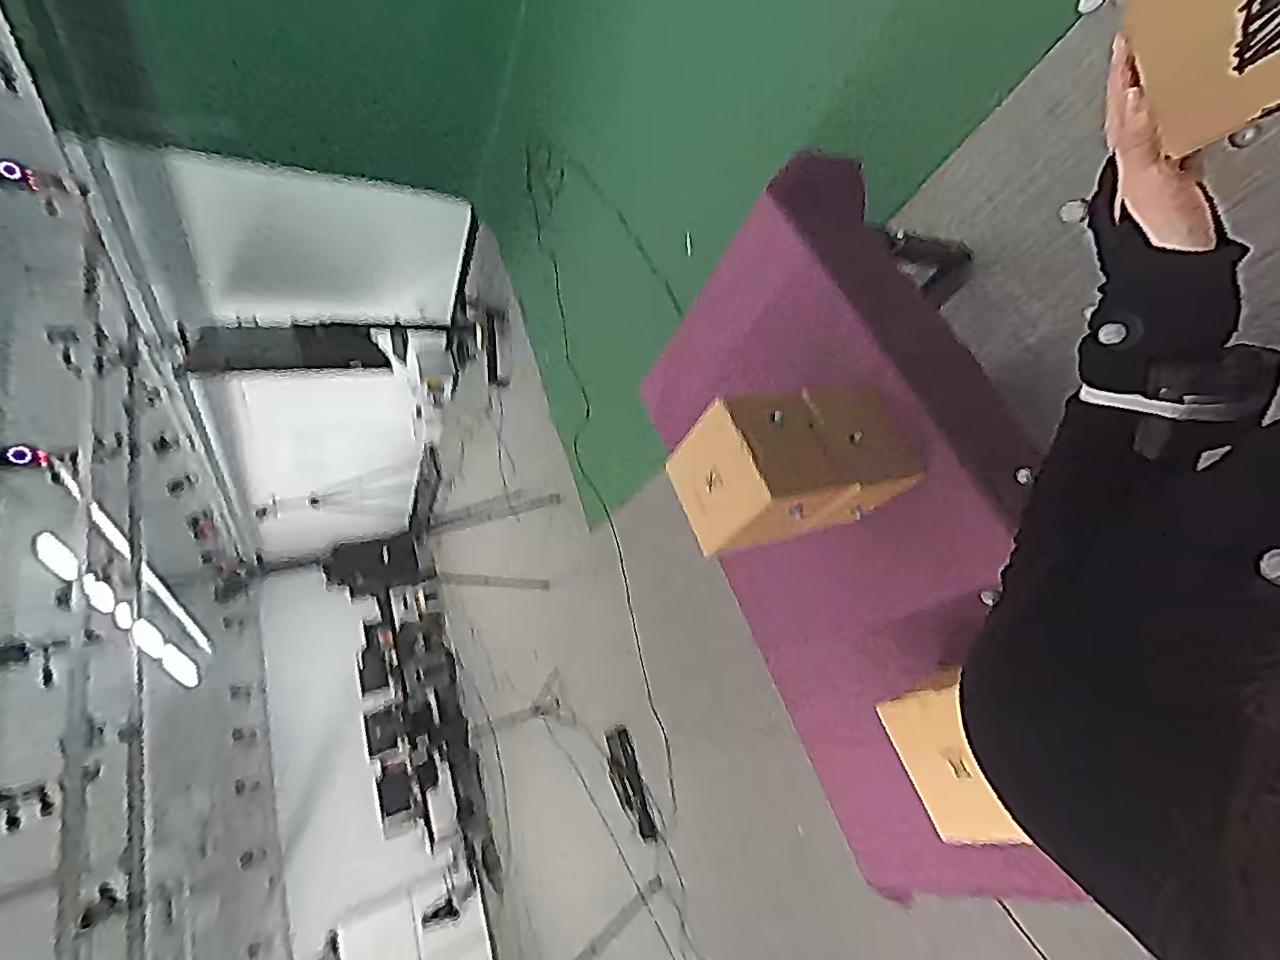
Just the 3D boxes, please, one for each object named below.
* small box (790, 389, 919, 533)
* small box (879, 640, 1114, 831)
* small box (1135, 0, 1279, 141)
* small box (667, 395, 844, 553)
[{"bbox_3d":[0.314,-0.036,0.890,0.168,0.176,0.179,-49,56,50],"label":"small box"},{"bbox_3d":[0.475,0.340,0.728,0.168,0.176,0.179,-52,53,49],"label":"small box"},{"bbox_3d":[0.322,-0.284,0.233,0.168,0.176,0.179,-15,104,48],"label":"small box"},{"bbox_3d":[0.174,-0.013,0.809,0.179,0.176,0.168,-53,53,50],"label":"small box"}]
